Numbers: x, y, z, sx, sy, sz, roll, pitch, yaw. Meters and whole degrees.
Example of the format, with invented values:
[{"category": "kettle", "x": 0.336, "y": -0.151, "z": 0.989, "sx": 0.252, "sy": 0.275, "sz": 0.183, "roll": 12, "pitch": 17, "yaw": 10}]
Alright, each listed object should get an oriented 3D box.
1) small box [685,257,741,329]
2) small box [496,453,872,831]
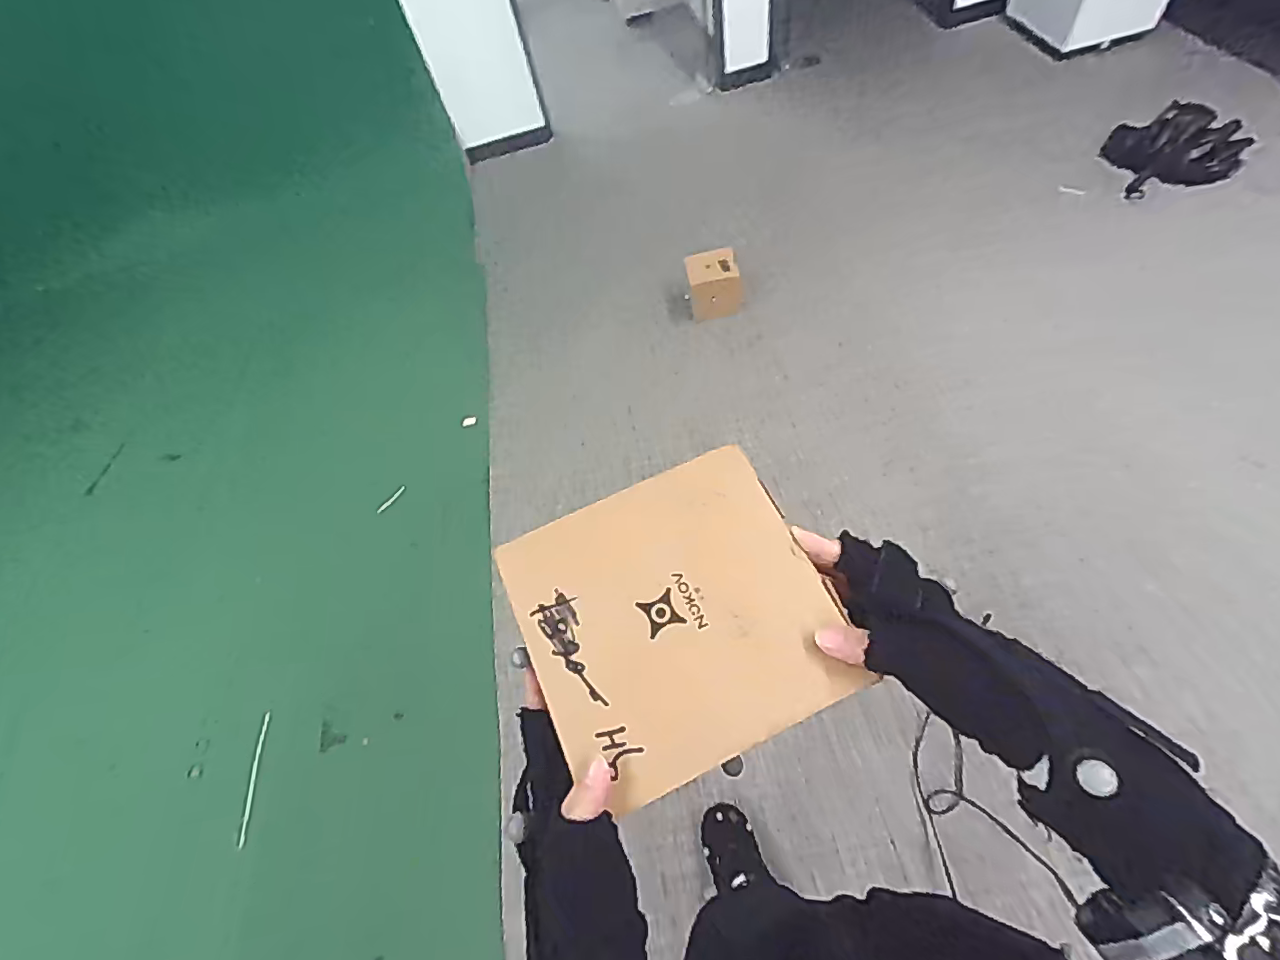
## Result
[{"category": "small box", "x": 0.270, "y": -0.680, "z": 1.980, "sx": 0.179, "sy": 0.176, "sz": 0.168, "roll": -10, "pitch": 56, "yaw": 7}, {"category": "small box", "x": 0.023, "y": 0.115, "z": 0.392, "sx": 0.179, "sy": 0.176, "sz": 0.168, "roll": -26, "pitch": 65, "yaw": -8}]
